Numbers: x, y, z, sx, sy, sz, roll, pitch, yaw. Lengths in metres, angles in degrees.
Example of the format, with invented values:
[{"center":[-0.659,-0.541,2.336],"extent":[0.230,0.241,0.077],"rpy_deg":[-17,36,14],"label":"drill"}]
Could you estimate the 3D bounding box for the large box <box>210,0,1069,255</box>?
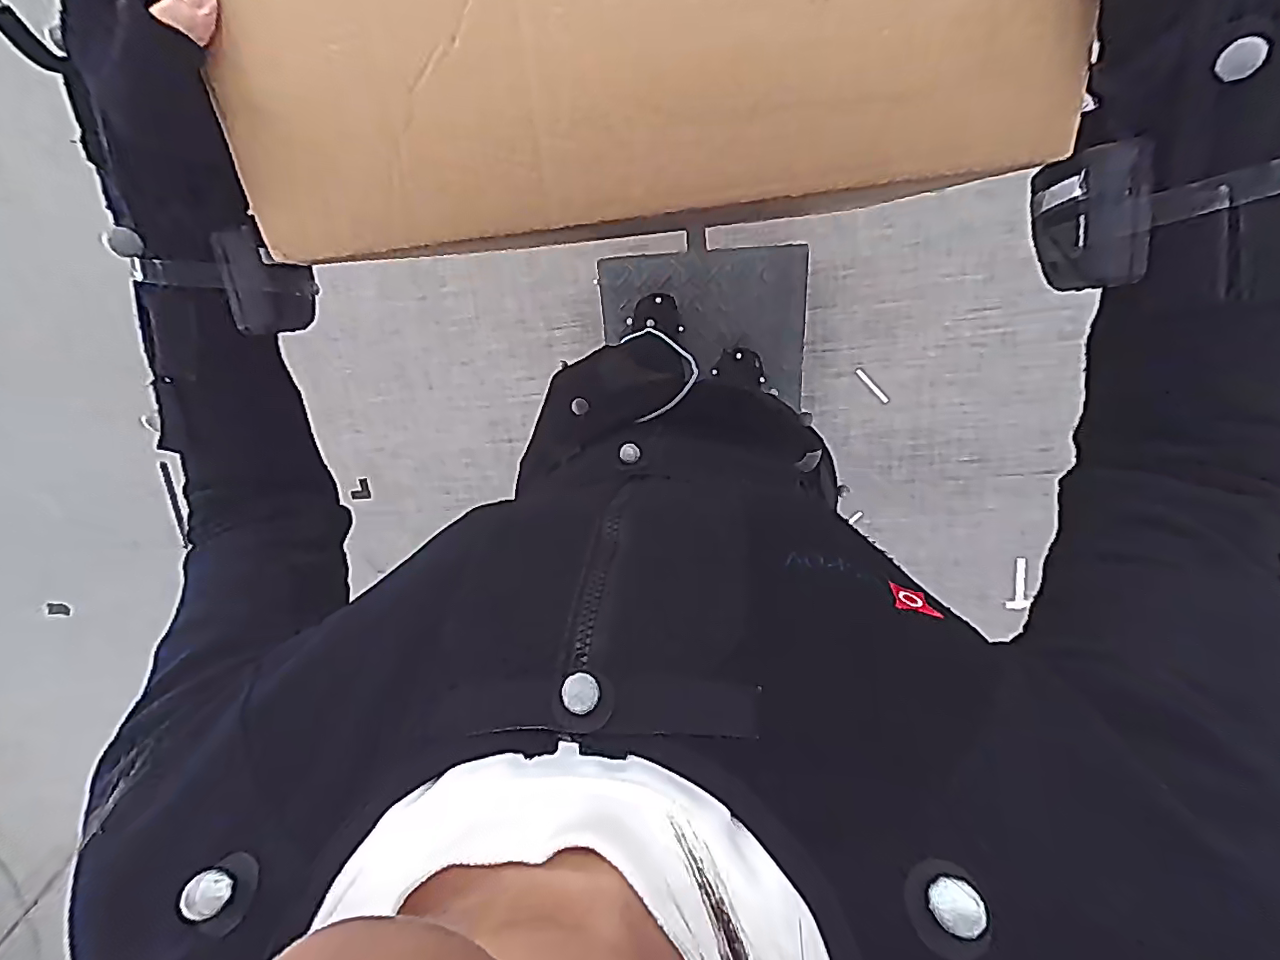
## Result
[{"center":[-0.006,-0.345,0.361],"extent":[0.408,0.320,0.320],"rpy_deg":[-4,114,9],"label":"large box"}]
